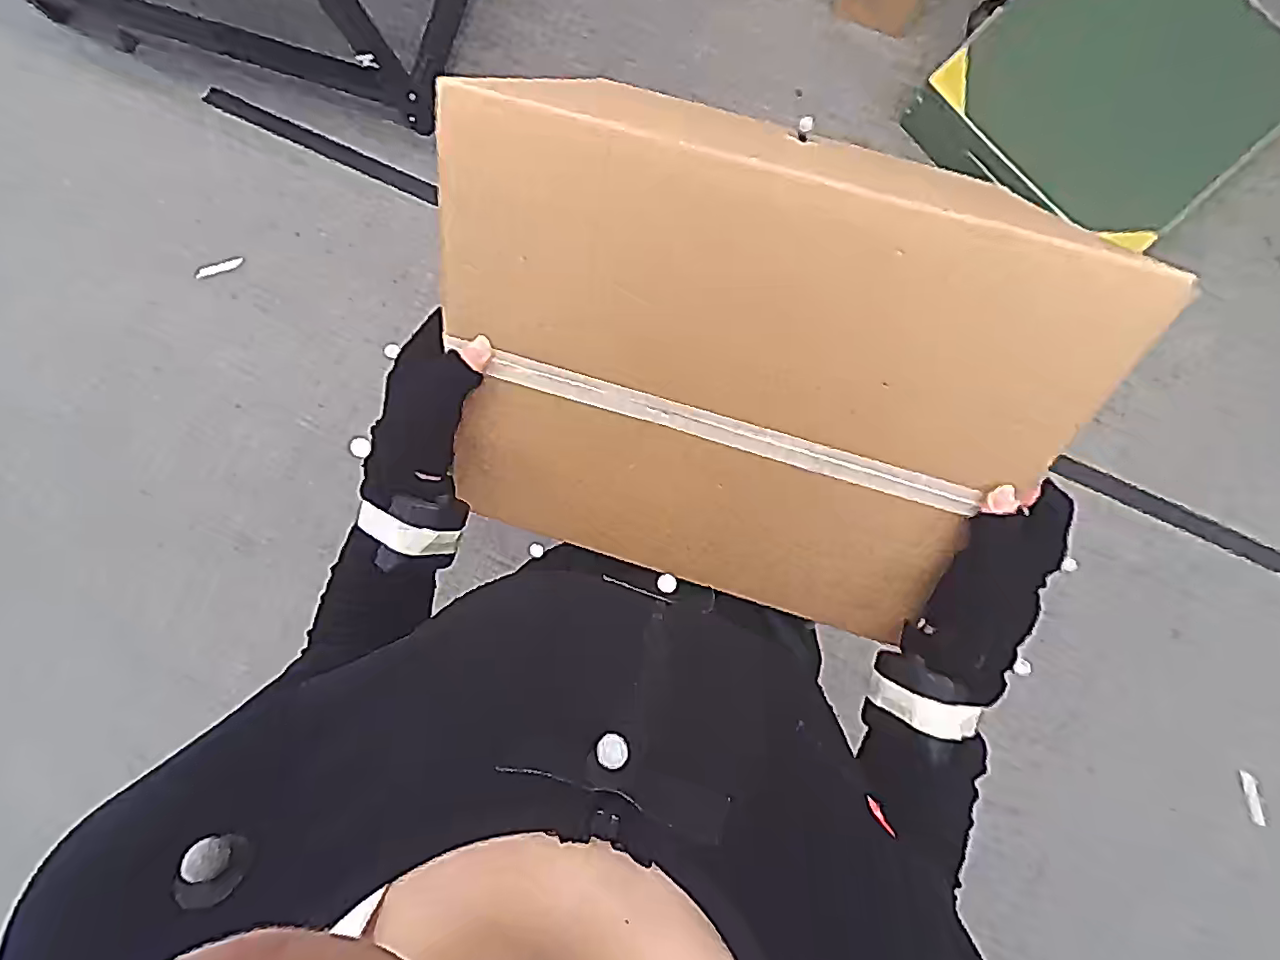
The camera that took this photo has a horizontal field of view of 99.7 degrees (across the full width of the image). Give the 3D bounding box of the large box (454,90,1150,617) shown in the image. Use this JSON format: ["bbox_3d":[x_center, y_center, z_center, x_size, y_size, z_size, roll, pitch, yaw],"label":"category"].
[{"bbox_3d":[0.091,-0.134,0.506,0.408,0.320,0.320,17,128,4],"label":"large box"}]
